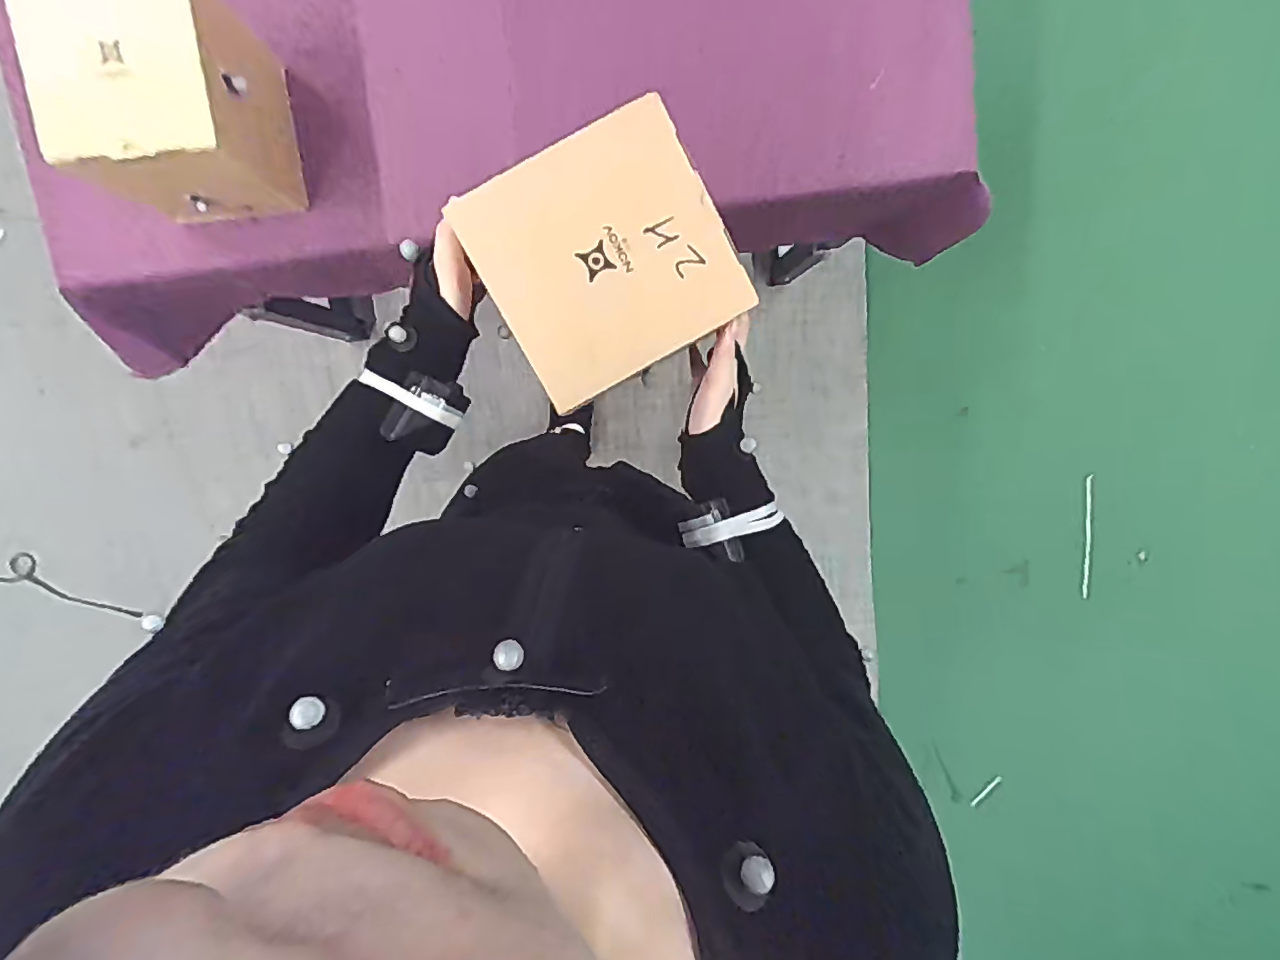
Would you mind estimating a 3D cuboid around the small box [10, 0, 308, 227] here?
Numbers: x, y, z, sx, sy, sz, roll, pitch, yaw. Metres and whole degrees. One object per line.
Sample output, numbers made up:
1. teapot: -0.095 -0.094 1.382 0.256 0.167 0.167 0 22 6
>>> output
1. small box: -0.504 -0.403 0.595 0.168 0.176 0.179 -7 99 -3
